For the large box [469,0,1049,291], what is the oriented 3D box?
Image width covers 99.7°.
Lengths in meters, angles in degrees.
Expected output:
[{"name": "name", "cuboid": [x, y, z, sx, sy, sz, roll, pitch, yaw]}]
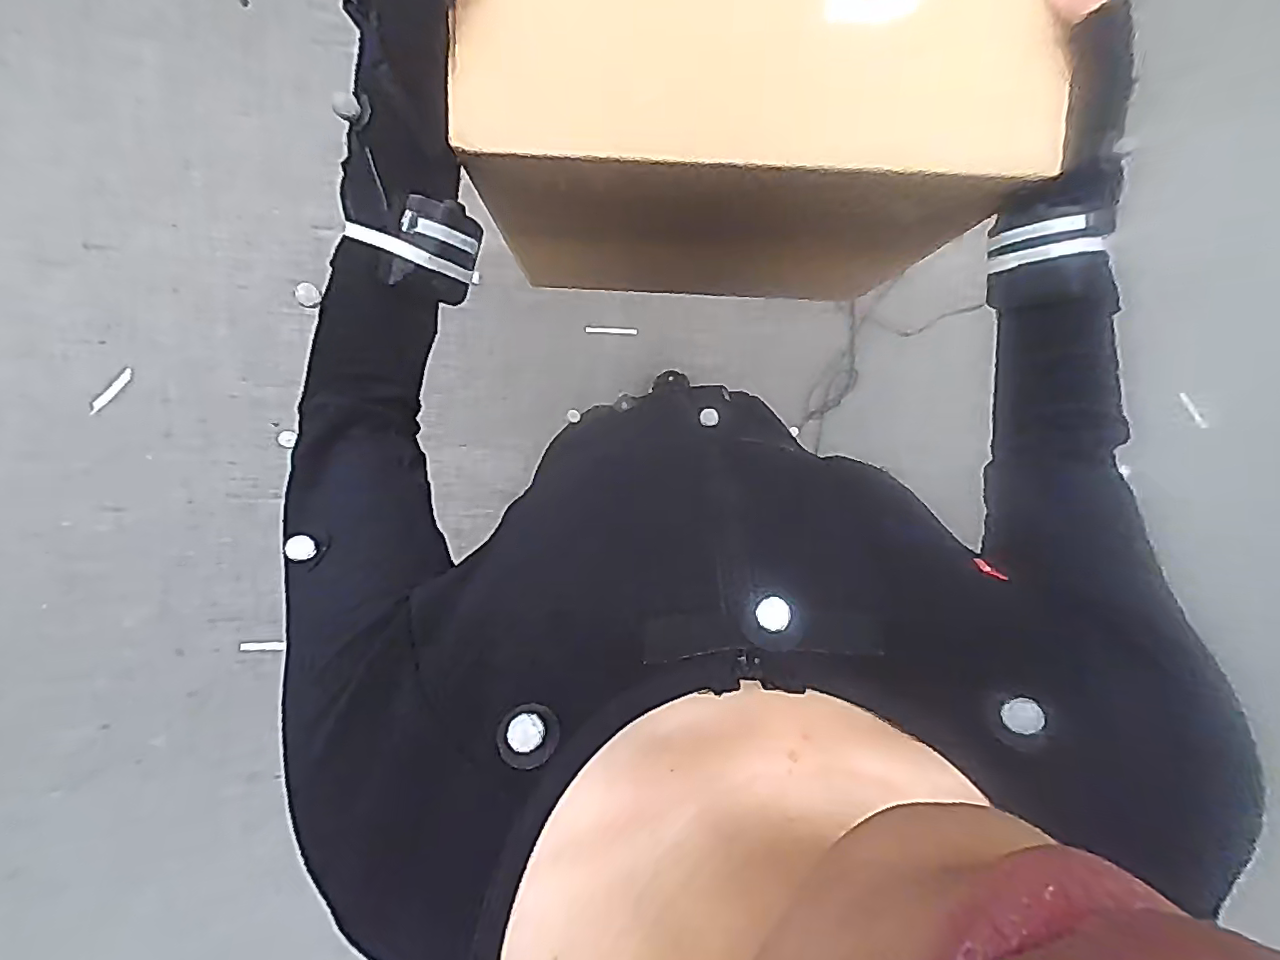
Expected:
[{"name": "large box", "cuboid": [0.077, -0.380, 0.512, 0.408, 0.320, 0.320, 1, 93, -2]}]
